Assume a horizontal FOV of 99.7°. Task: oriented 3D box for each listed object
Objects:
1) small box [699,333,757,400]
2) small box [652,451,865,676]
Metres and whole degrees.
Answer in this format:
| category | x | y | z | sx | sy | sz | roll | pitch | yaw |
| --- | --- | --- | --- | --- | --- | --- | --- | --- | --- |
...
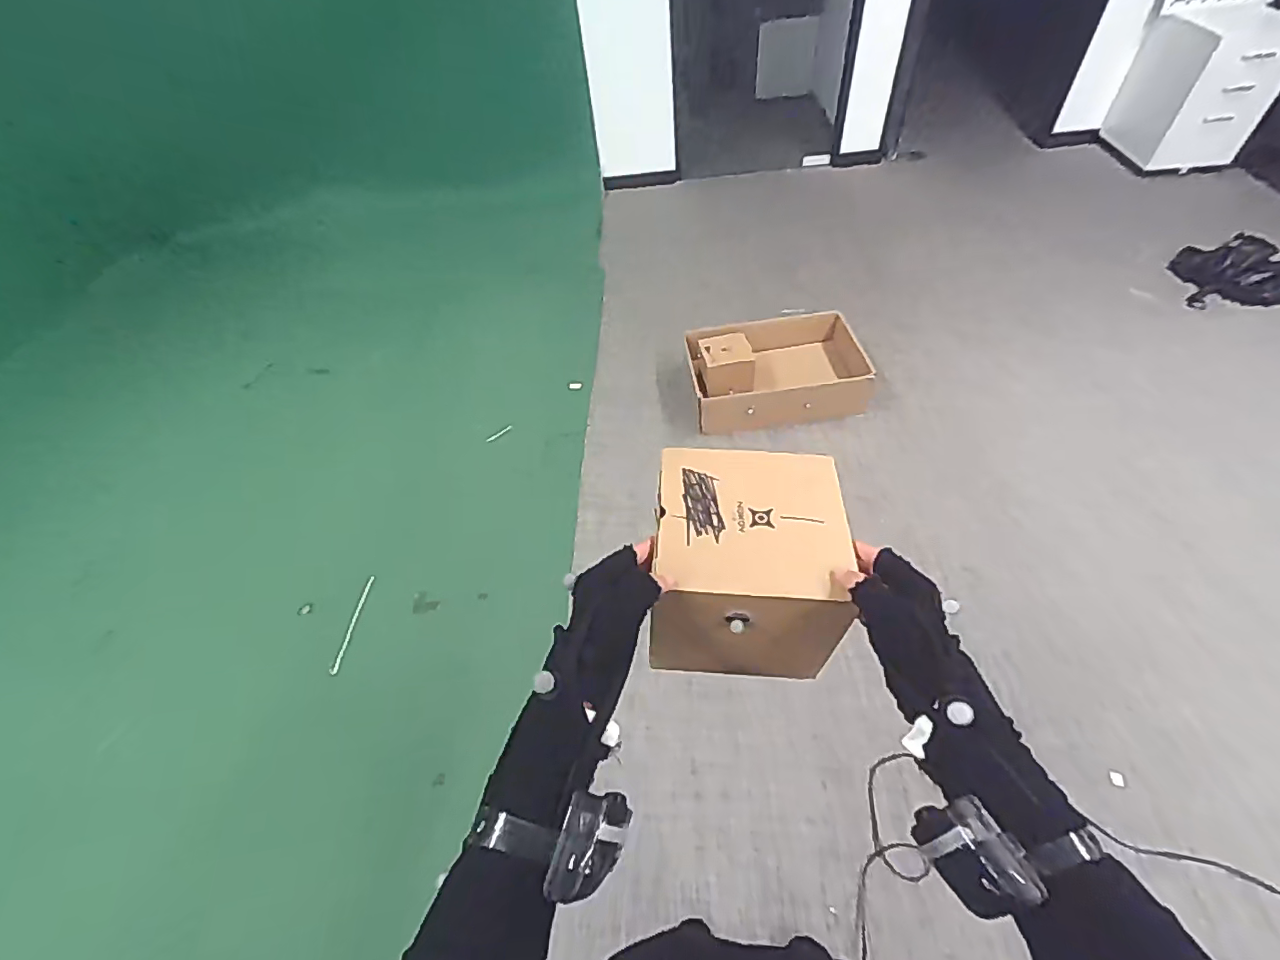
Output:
| category | x | y | z | sx | sy | sz | roll | pitch | yaw |
| --- | --- | --- | --- | --- | --- | --- | --- | --- | --- |
| small box | 0.323 | -0.421 | 2.016 | 0.179 | 0.176 | 0.168 | -9 | 50 | -2 |
| small box | 0.105 | 0.089 | 0.557 | 0.179 | 0.176 | 0.168 | 4 | 50 | 2 |
